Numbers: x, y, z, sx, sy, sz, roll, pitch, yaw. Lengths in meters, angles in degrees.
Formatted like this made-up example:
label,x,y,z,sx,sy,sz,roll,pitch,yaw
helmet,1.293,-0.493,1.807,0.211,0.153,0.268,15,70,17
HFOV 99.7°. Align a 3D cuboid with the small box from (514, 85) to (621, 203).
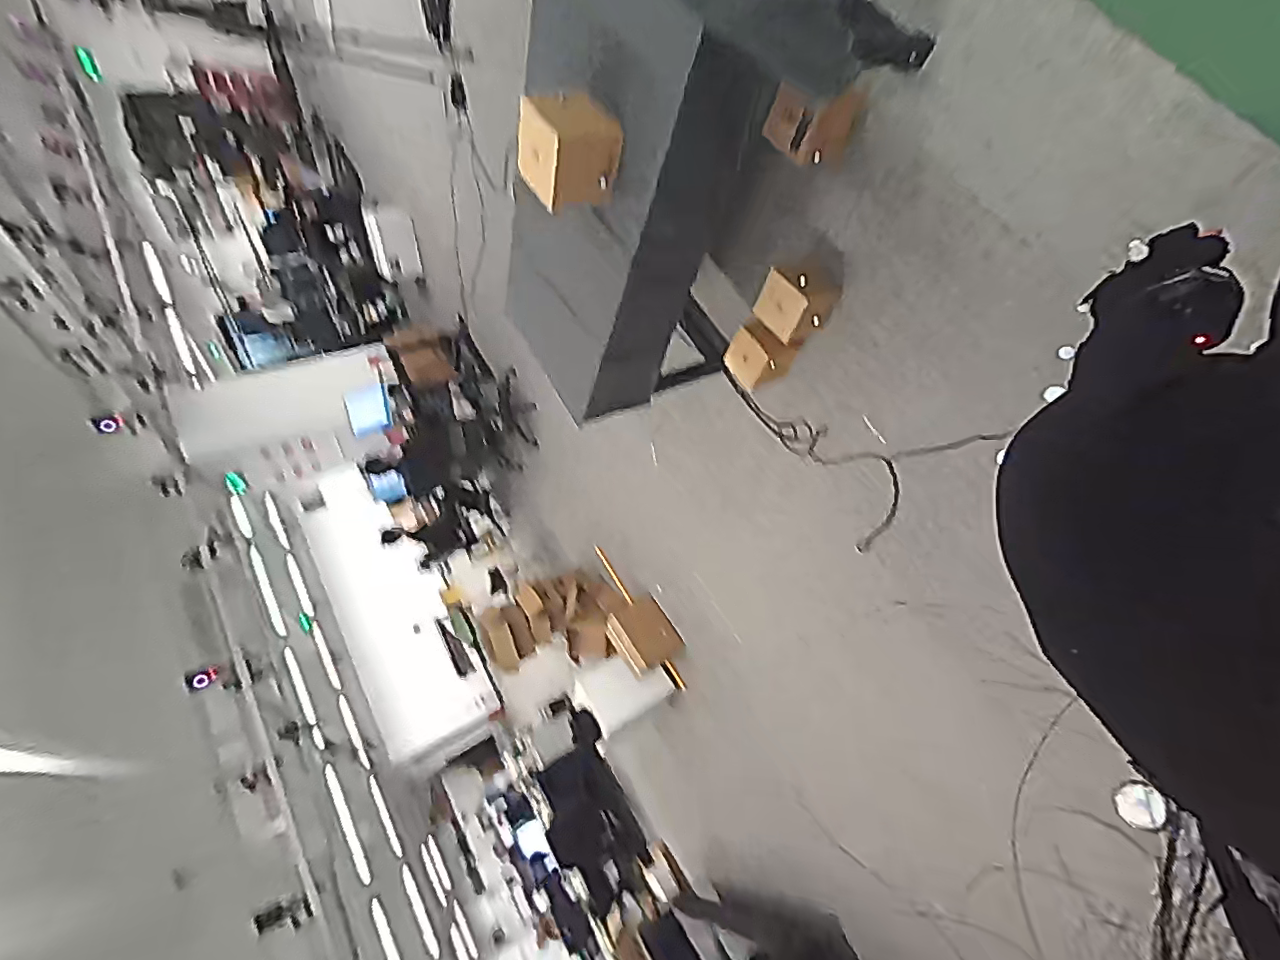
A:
label,x,y,z,sx,sy,sz,roll,pitch,yaw
small box,-0.168,-0.764,1.230,0.179,0.176,0.168,56,152,20
